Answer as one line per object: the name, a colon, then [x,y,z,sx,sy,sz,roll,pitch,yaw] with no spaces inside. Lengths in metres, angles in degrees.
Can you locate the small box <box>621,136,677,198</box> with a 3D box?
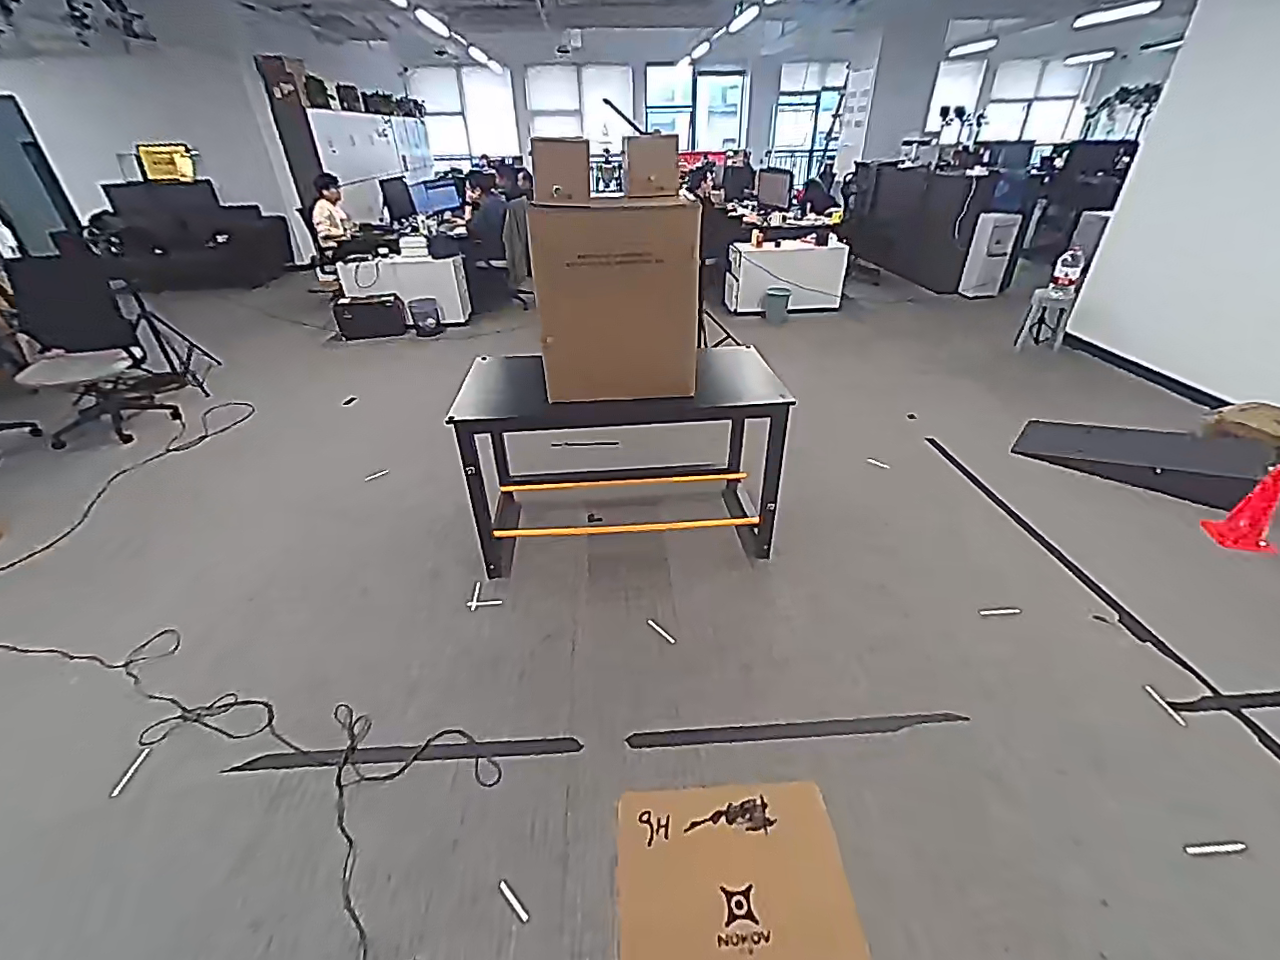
small box: [0.026,-1.017,1.760,0.168,0.176,0.179,-6,32,-5]

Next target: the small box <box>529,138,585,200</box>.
small box: [-0.268,-1.017,1.770,0.168,0.176,0.179,-4,31,-5]
